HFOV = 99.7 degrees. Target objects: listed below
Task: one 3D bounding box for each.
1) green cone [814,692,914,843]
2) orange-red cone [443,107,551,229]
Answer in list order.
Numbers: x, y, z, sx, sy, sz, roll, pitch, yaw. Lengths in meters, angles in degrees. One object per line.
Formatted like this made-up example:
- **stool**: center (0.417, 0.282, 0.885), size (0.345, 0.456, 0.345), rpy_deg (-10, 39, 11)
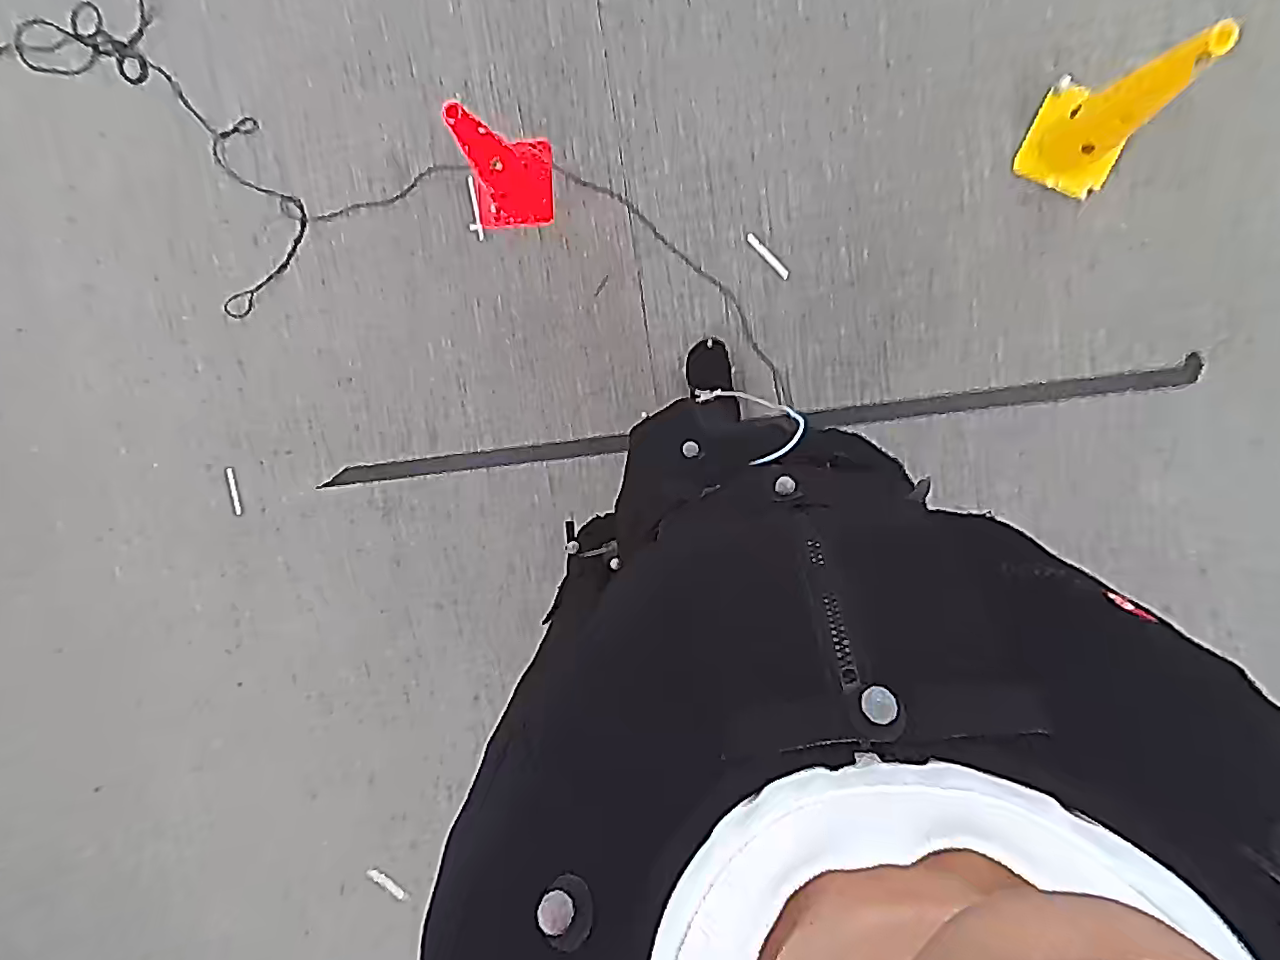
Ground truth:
- **green cone**: center (0.573, 0.706, 1.293), size (0.202, 0.368, 0.200), rpy_deg (-23, 94, 10)
- **orange-red cone**: center (-0.337, -0.714, 1.193), size (0.199, 0.360, 0.198), rpy_deg (0, 98, 5)
